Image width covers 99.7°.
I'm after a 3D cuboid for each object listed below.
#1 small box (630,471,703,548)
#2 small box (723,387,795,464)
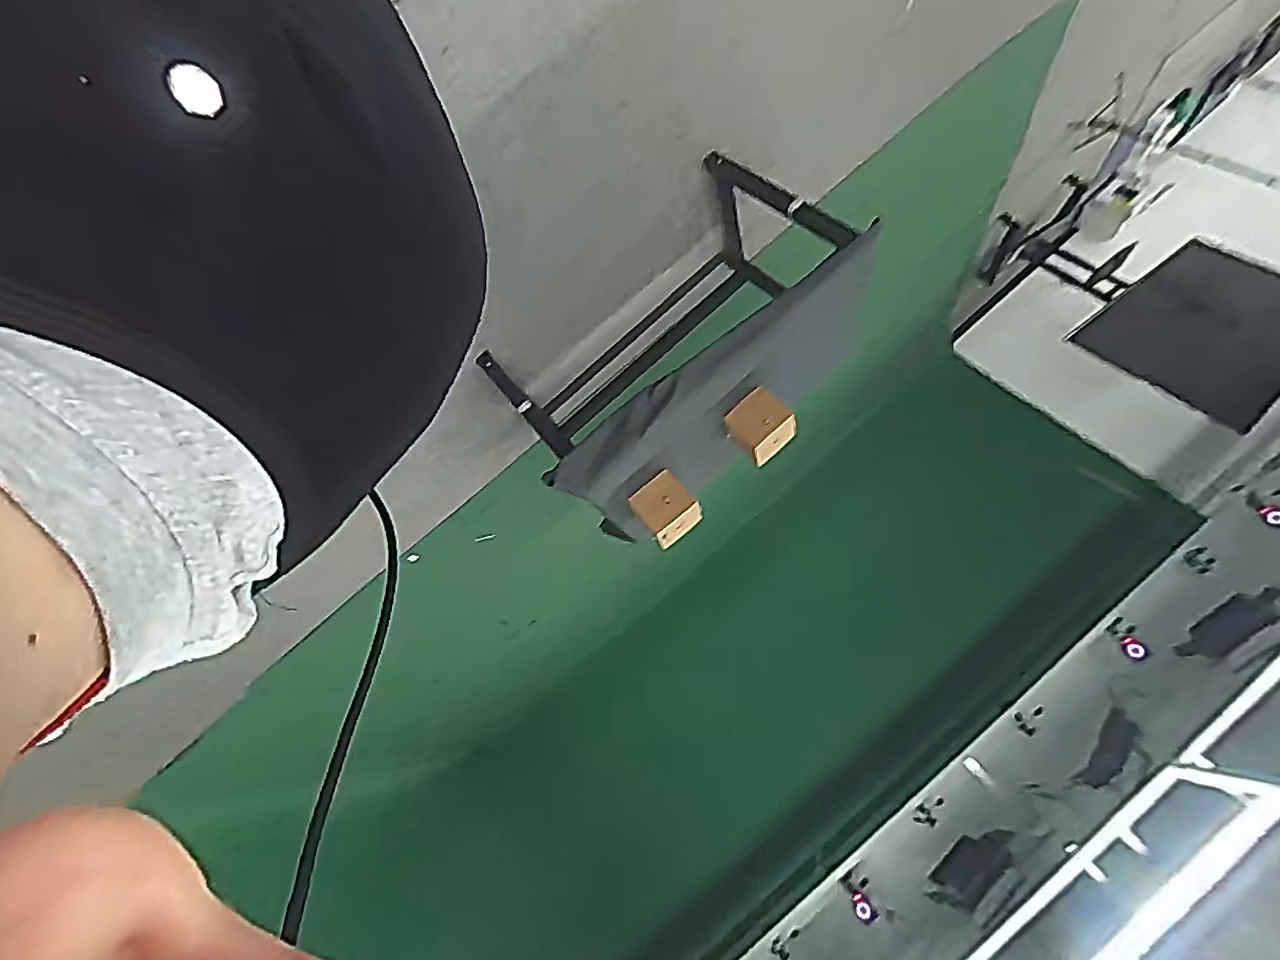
[{"bbox_3d":[0.093,0.099,1.862,0.179,0.176,0.168,-40,152,-7],"label":"small box"},{"bbox_3d":[0.418,-0.193,1.887,0.179,0.176,0.168,-41,152,-1],"label":"small box"}]
